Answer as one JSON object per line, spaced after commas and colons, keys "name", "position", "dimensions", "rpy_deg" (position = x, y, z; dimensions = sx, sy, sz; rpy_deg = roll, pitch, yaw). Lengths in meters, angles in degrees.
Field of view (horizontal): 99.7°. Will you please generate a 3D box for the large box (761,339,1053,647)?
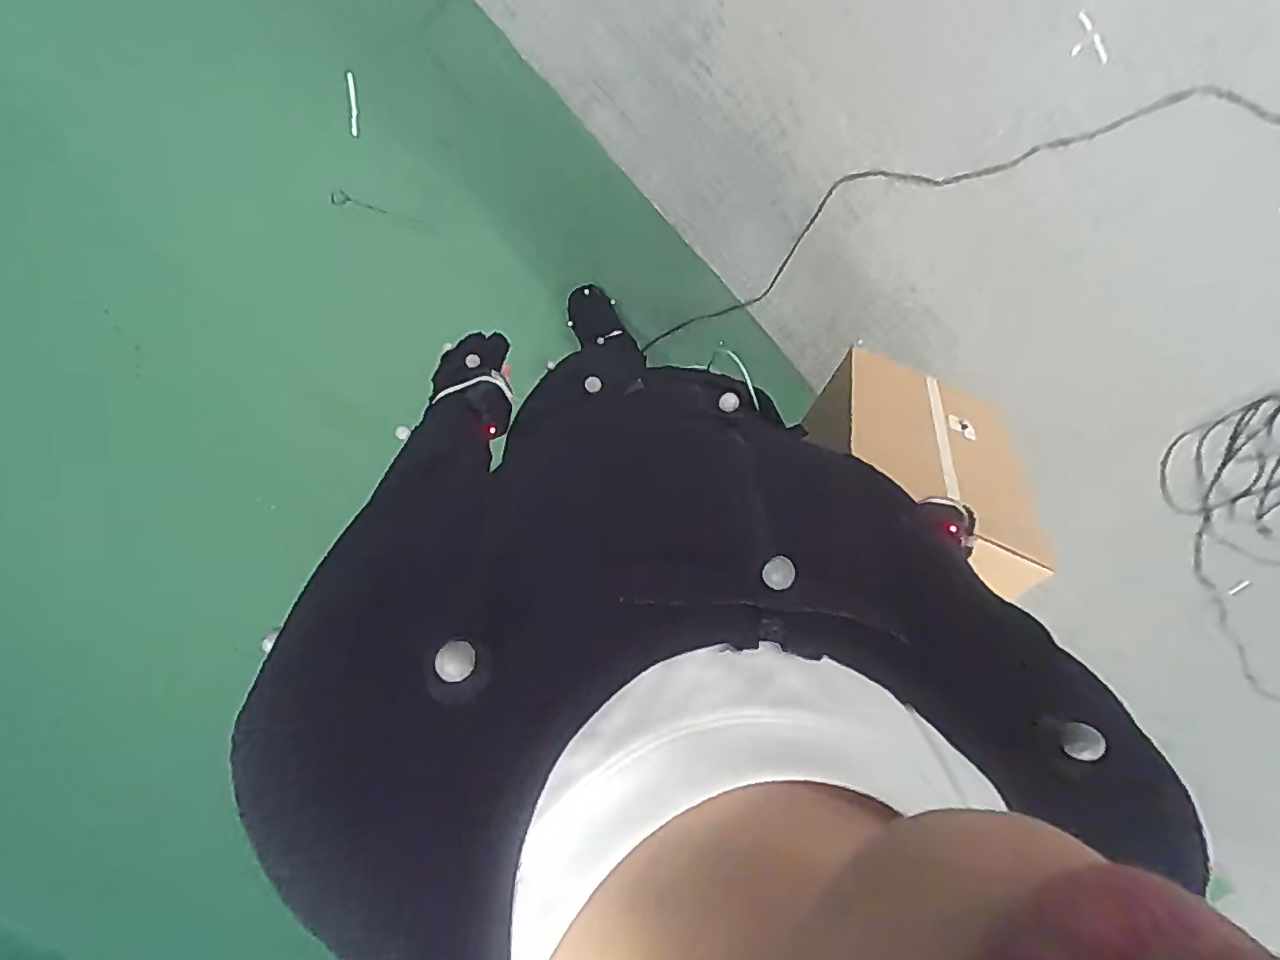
{"name": "large box", "position": [0.438, 0.019, 0.982], "dimensions": [0.320, 0.408, 0.320], "rpy_deg": [24, 135, -1]}
